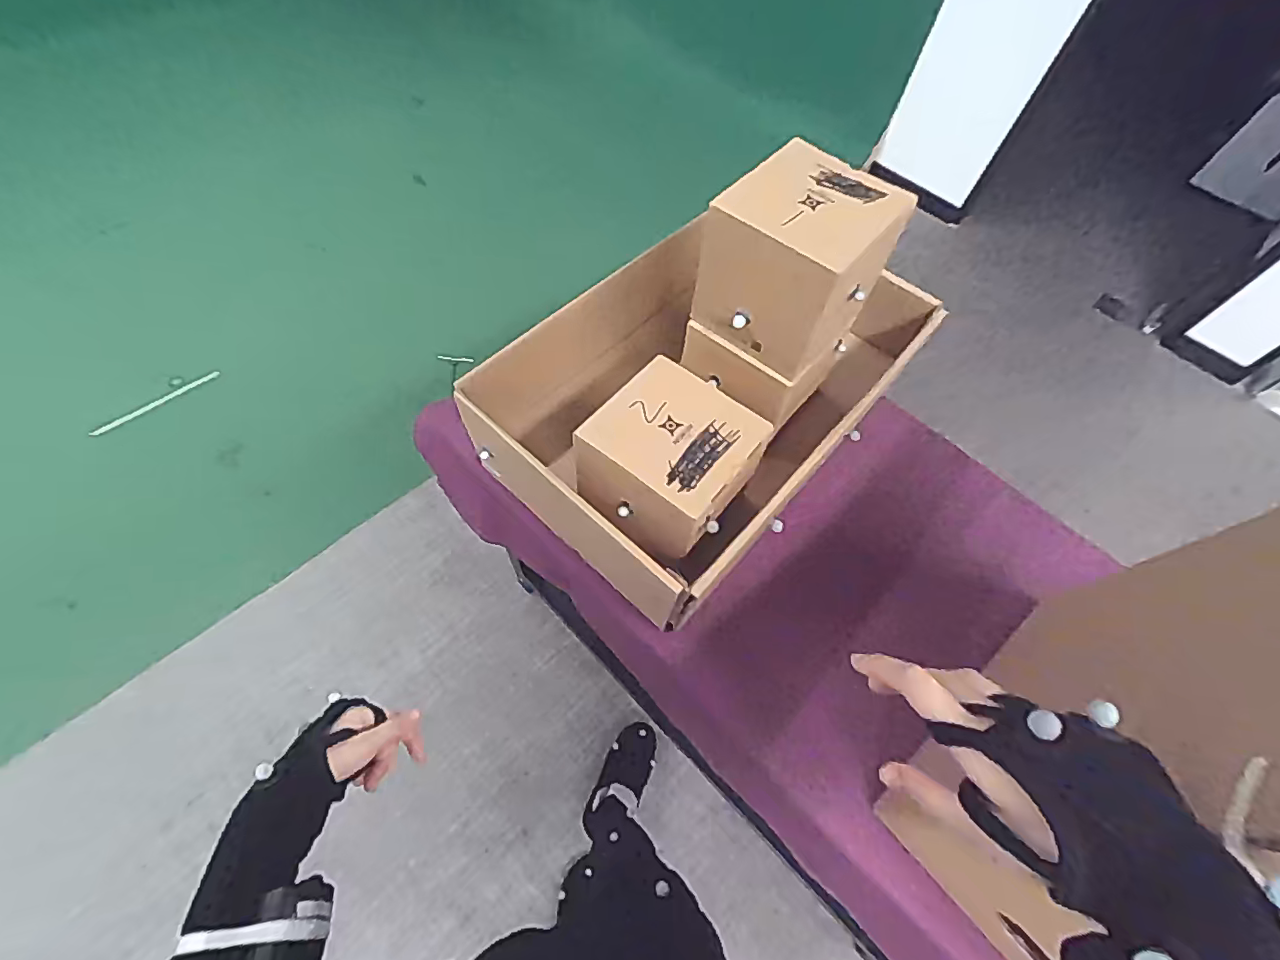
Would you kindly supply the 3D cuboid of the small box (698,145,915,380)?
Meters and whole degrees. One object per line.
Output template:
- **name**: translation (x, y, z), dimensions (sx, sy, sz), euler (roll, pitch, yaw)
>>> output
- **small box**: translation (0.188, -0.260, 0.661), dimensions (0.168, 0.176, 0.179), euler (38, 67, 18)

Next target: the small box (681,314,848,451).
- **small box**: translation (0.175, -0.175, 0.801), dimensions (0.168, 0.176, 0.179), euler (37, 65, 17)
